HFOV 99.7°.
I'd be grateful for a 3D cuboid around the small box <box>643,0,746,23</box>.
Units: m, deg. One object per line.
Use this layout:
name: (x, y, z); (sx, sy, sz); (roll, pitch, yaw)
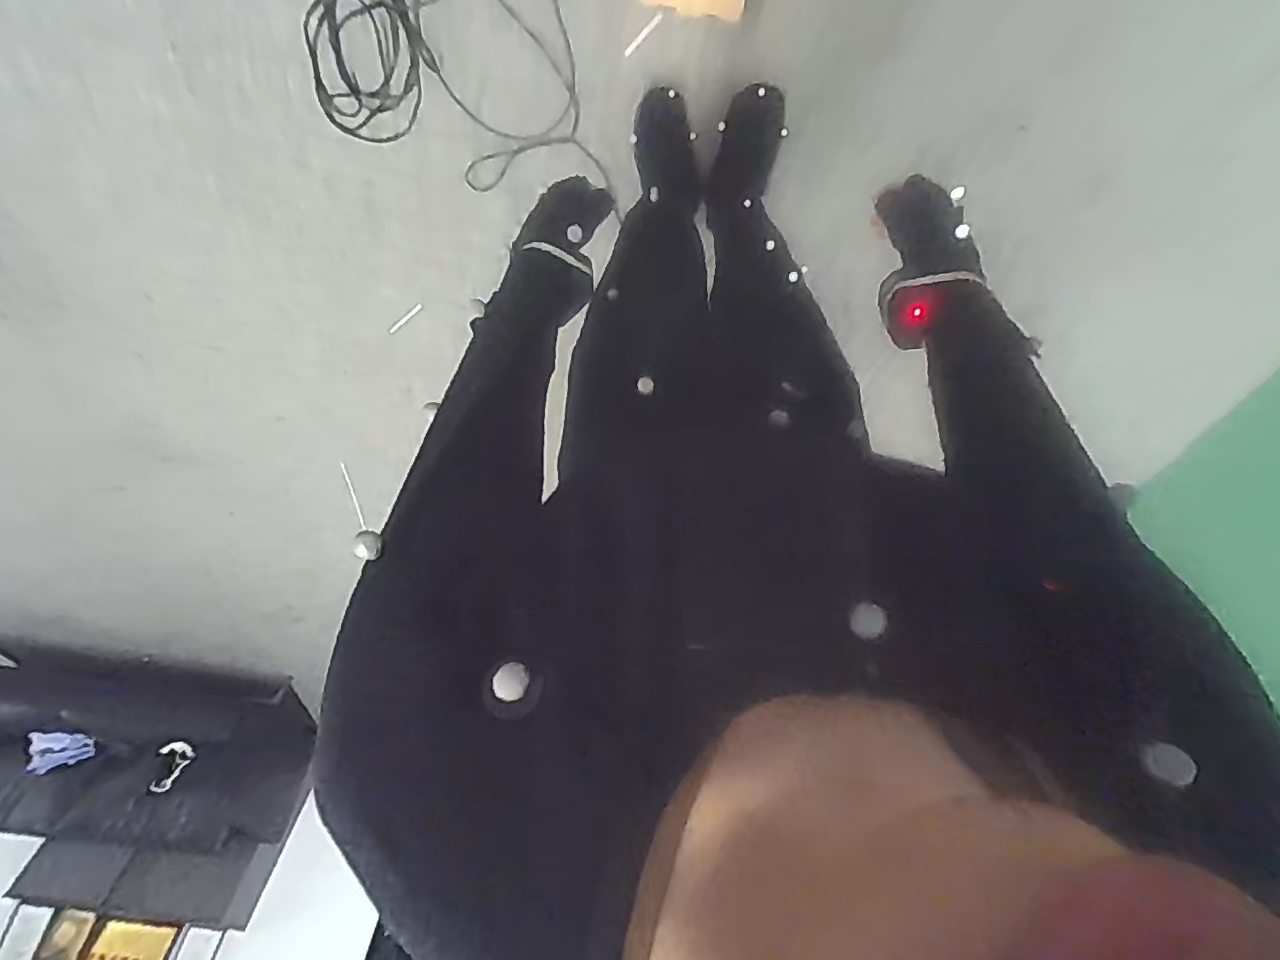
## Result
small box: (0.101, -0.858, 0.856); (0.168, 0.176, 0.179); (10, 135, -1)
